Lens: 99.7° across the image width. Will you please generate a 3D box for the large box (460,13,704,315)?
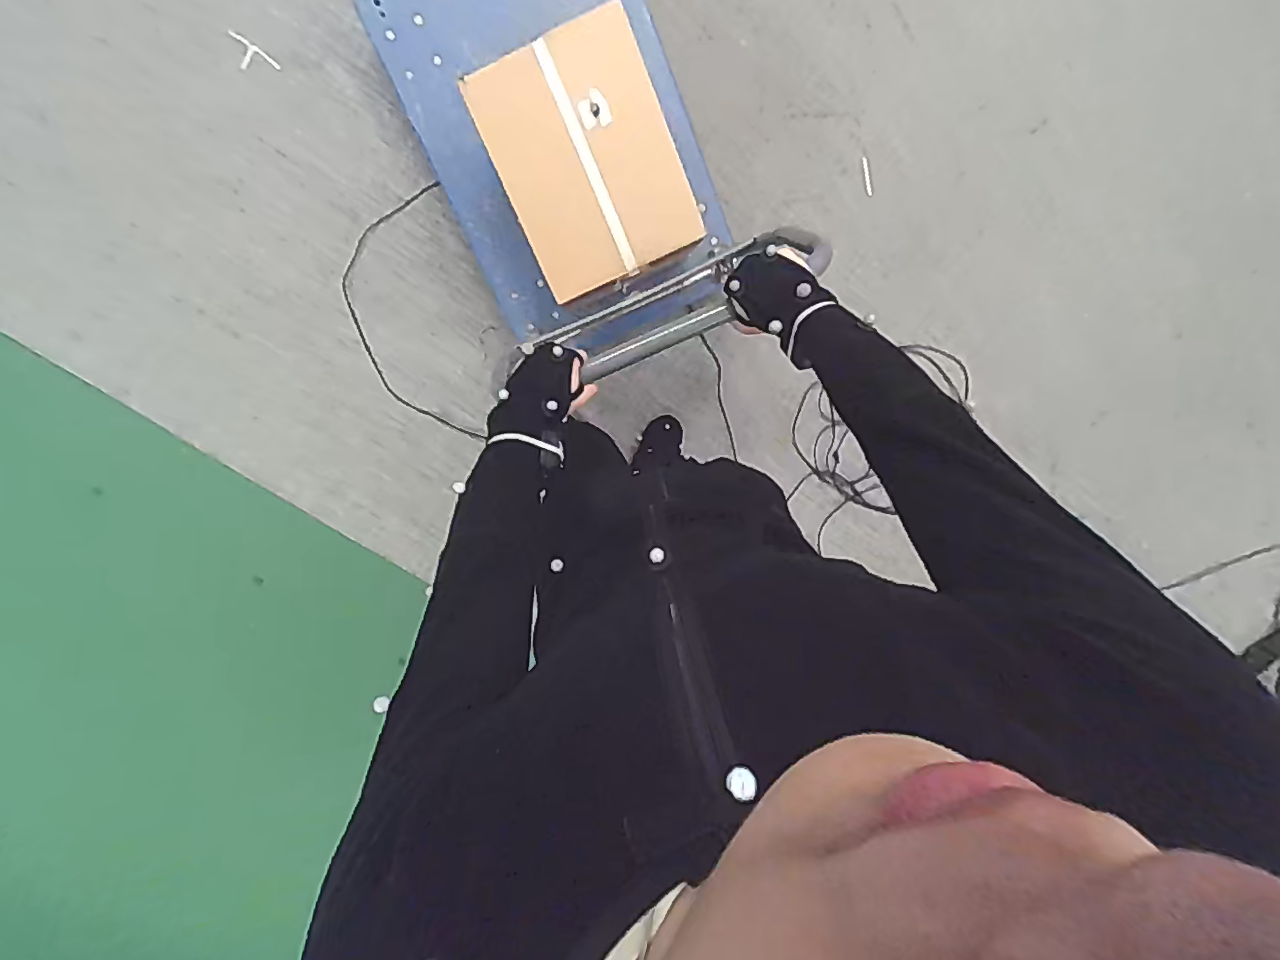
[{"bbox_3d":[-0.099,-0.600,1.122,0.320,0.320,0.408,-24,103,4],"label":"large box"}]
